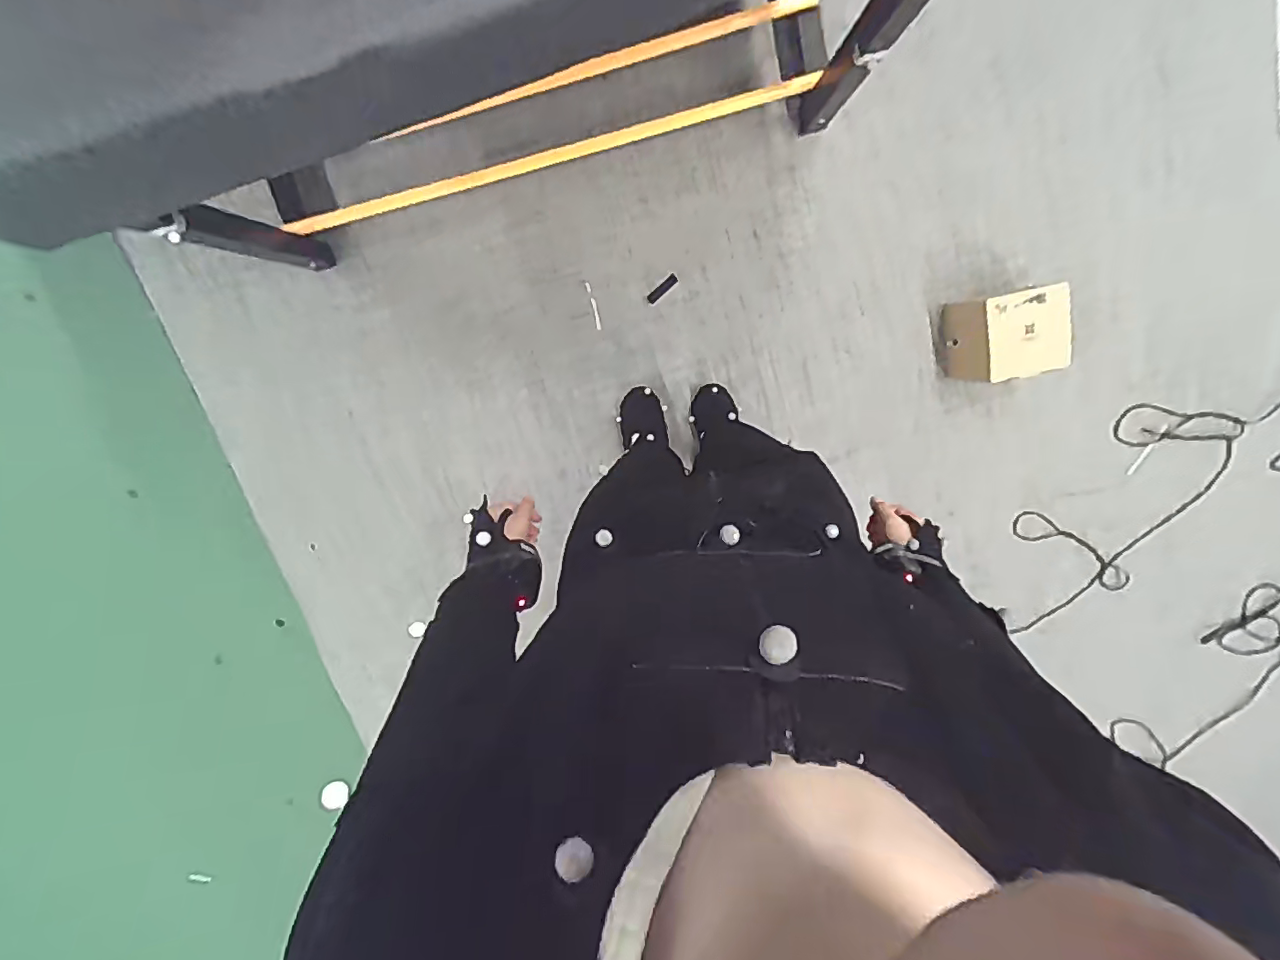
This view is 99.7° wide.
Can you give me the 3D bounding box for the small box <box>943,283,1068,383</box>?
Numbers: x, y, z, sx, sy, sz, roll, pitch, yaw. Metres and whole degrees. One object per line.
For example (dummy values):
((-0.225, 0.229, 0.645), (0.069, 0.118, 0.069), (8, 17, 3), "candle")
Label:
((0.790, -0.321, 1.182), (0.168, 0.176, 0.179), (-11, 105, 3), "small box")
